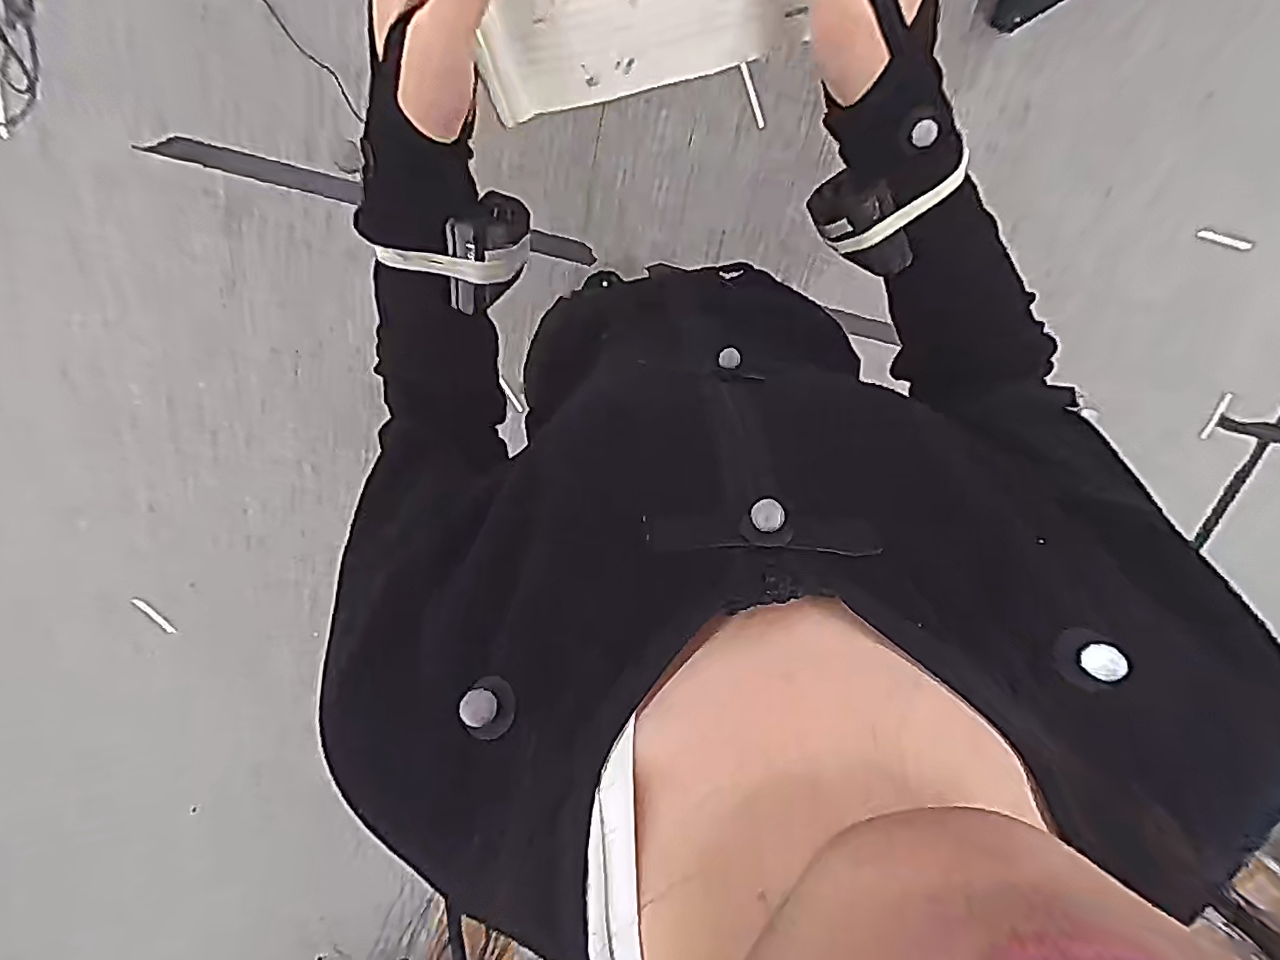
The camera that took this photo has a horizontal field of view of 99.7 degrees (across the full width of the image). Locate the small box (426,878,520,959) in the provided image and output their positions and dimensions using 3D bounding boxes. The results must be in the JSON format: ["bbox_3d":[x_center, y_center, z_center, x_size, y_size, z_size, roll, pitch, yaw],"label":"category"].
[{"bbox_3d":[-0.366,1.010,1.167,0.168,0.176,0.179,16,111,-9],"label":"small box"}]
